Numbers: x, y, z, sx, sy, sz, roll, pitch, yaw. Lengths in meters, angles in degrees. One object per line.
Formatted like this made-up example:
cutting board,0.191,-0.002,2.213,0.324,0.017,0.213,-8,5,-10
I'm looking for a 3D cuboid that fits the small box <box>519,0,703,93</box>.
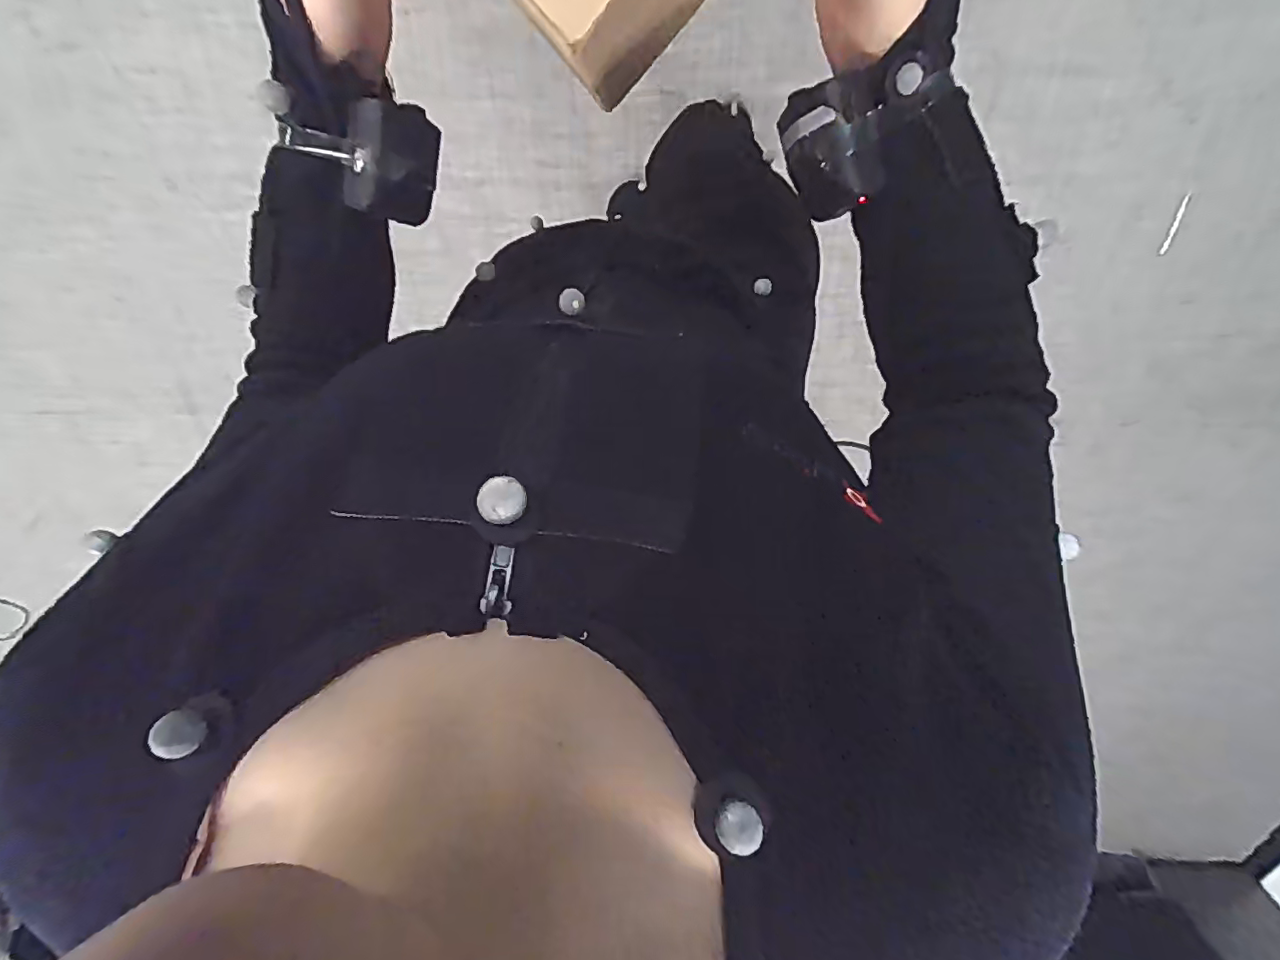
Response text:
small box,-0.016,-0.312,0.233,0.179,0.176,0.168,-40,109,21
